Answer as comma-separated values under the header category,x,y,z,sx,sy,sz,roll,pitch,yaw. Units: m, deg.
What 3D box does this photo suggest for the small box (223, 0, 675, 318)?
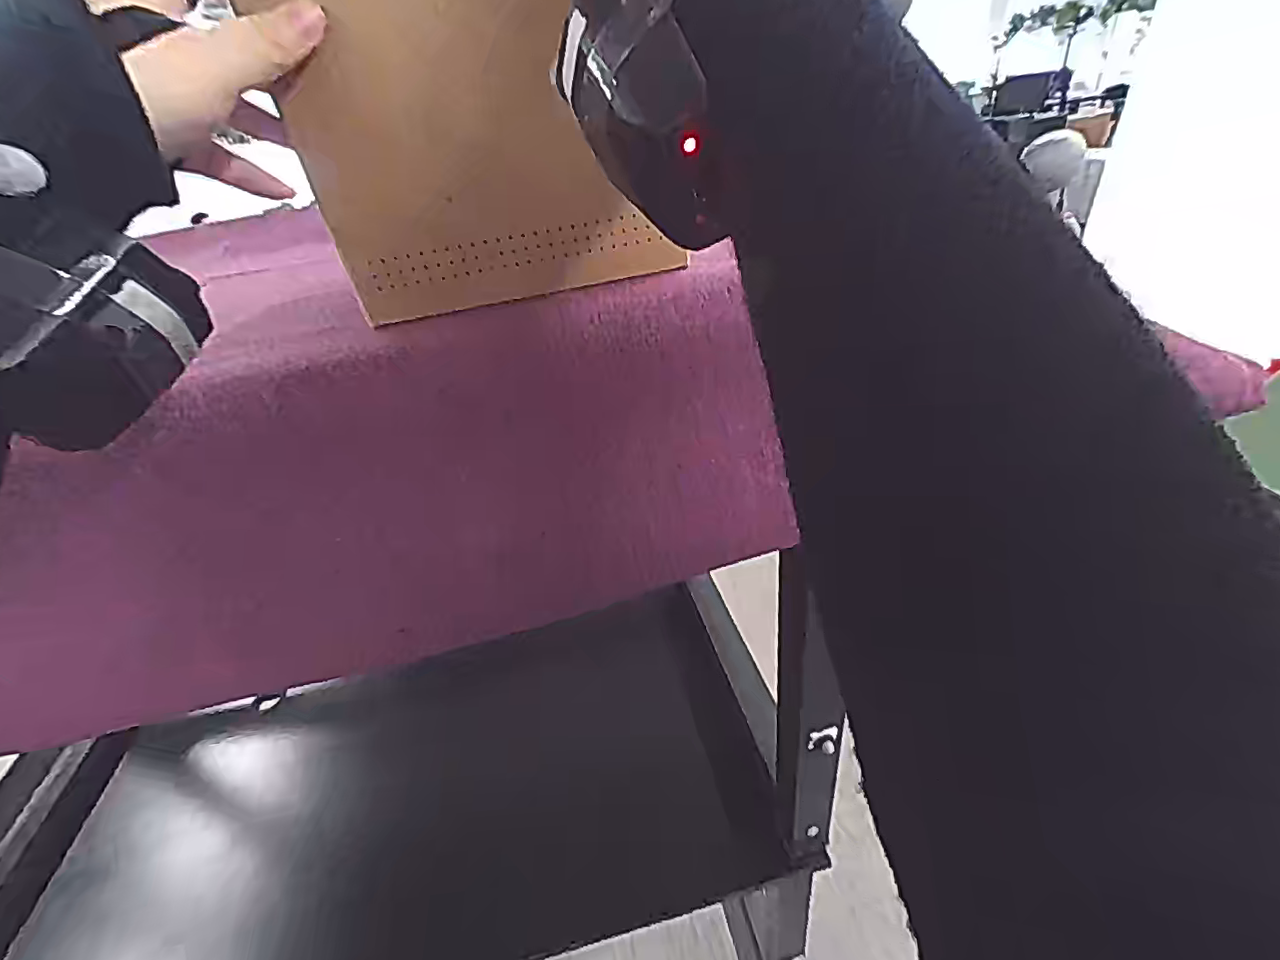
category,x,y,z,sx,sy,sz,roll,pitch,yaw
small box,-0.081,-0.206,0.299,0.179,0.176,0.168,-12,33,-4
